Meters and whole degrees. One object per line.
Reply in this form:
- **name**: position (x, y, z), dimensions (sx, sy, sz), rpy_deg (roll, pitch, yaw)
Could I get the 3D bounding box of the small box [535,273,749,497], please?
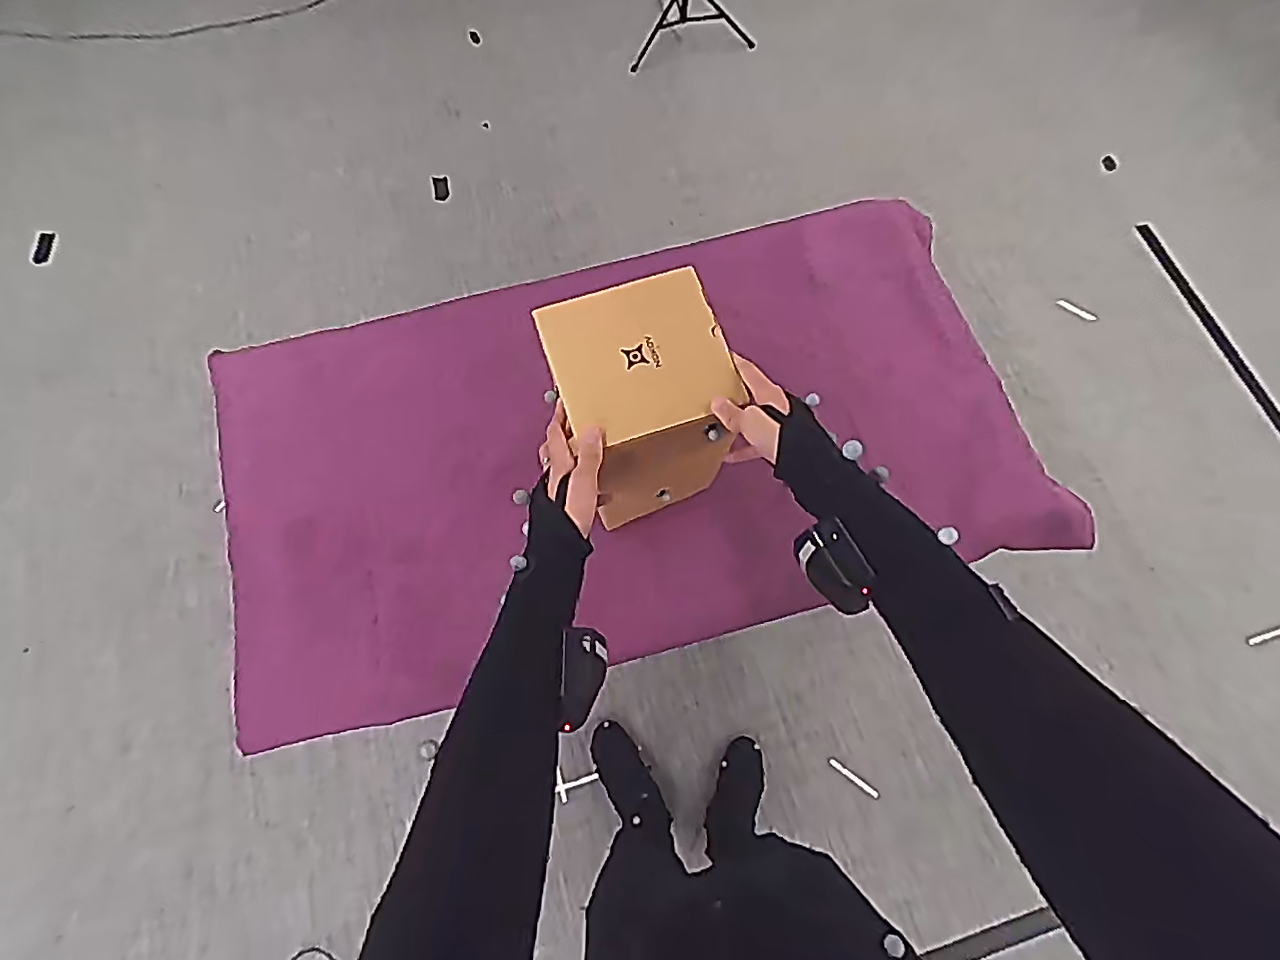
- **small box**: position (-0.001, -0.095, 0.609), dimensions (0.179, 0.176, 0.168), rpy_deg (-18, 74, -7)
